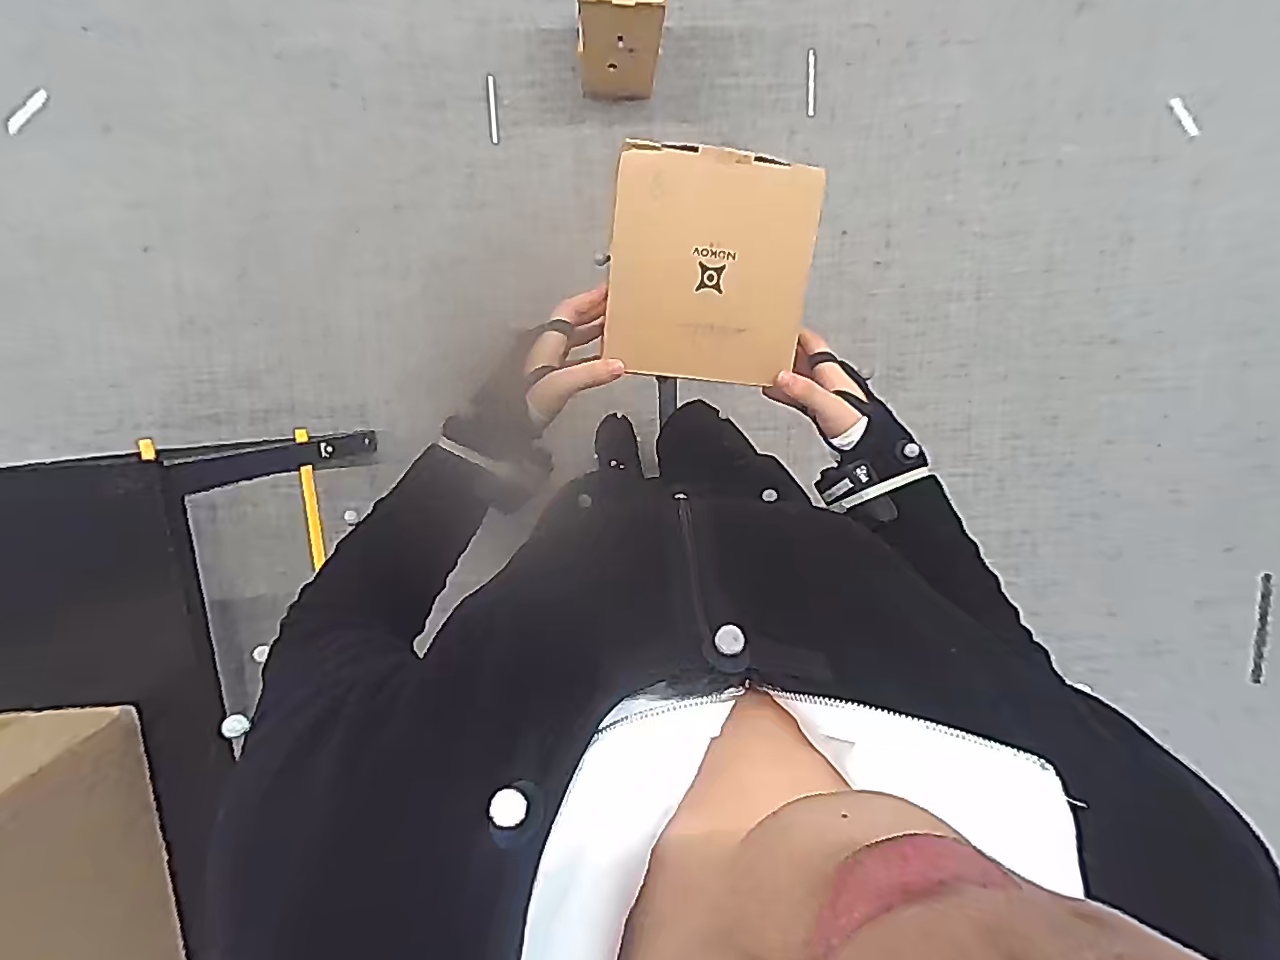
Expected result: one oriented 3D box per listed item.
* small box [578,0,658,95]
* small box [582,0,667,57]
[{"bbox_3d":[-0.050,-1.020,1.245,0.179,0.176,0.168,0,99,-4],"label":"small box"},{"bbox_3d":[-0.033,-0.999,1.082,0.168,0.176,0.179,0,100,-3],"label":"small box"}]
